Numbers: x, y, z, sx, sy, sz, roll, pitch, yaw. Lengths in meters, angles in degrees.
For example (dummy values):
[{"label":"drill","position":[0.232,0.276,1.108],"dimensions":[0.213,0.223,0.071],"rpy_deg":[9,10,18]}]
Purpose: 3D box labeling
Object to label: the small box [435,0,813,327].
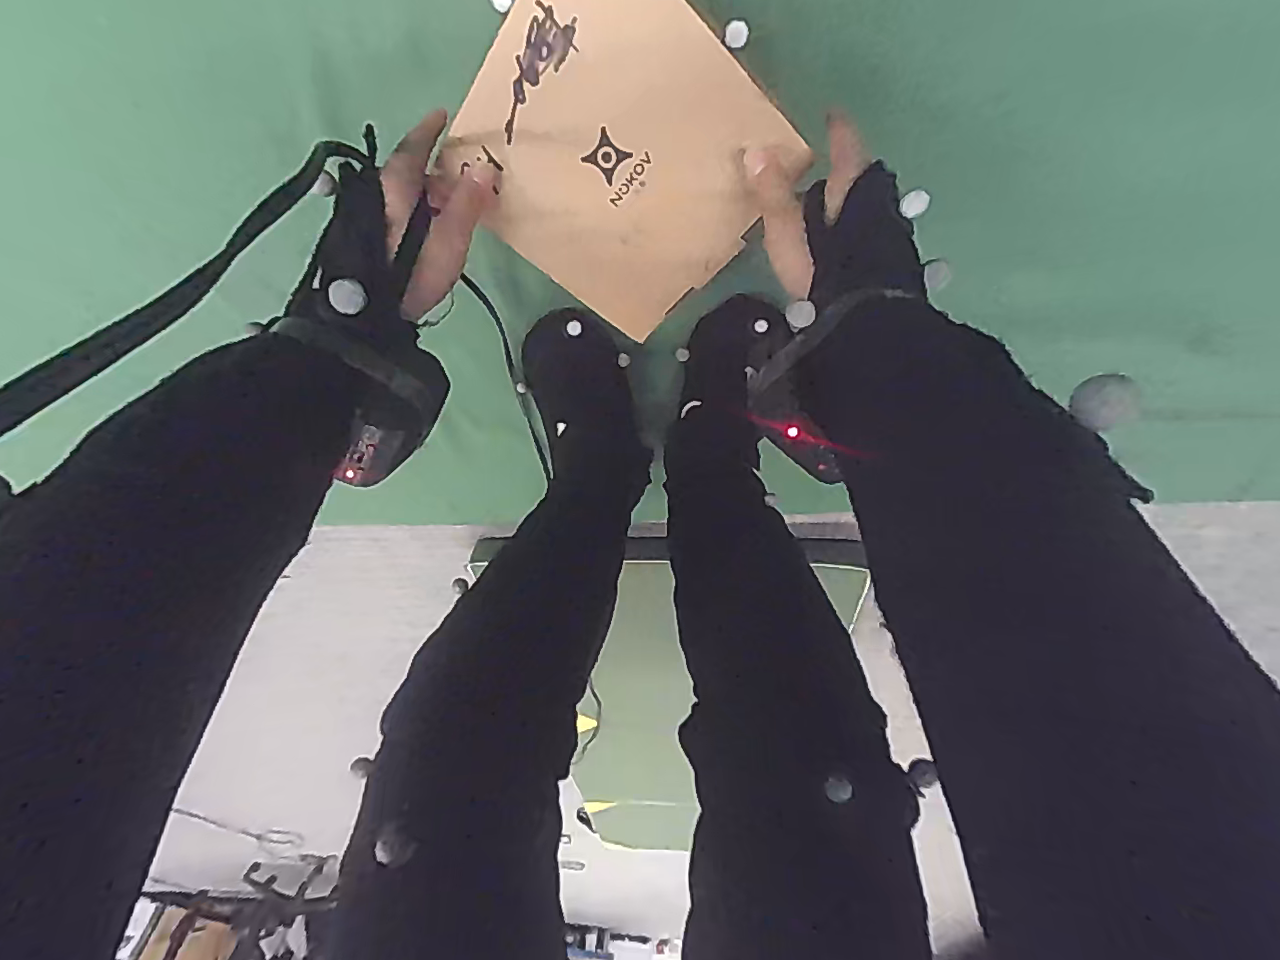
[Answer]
[{"label":"small box","position":[-0.007,-0.254,0.385],"dimensions":[0.179,0.176,0.168],"rpy_deg":[32,128,-27]}]
